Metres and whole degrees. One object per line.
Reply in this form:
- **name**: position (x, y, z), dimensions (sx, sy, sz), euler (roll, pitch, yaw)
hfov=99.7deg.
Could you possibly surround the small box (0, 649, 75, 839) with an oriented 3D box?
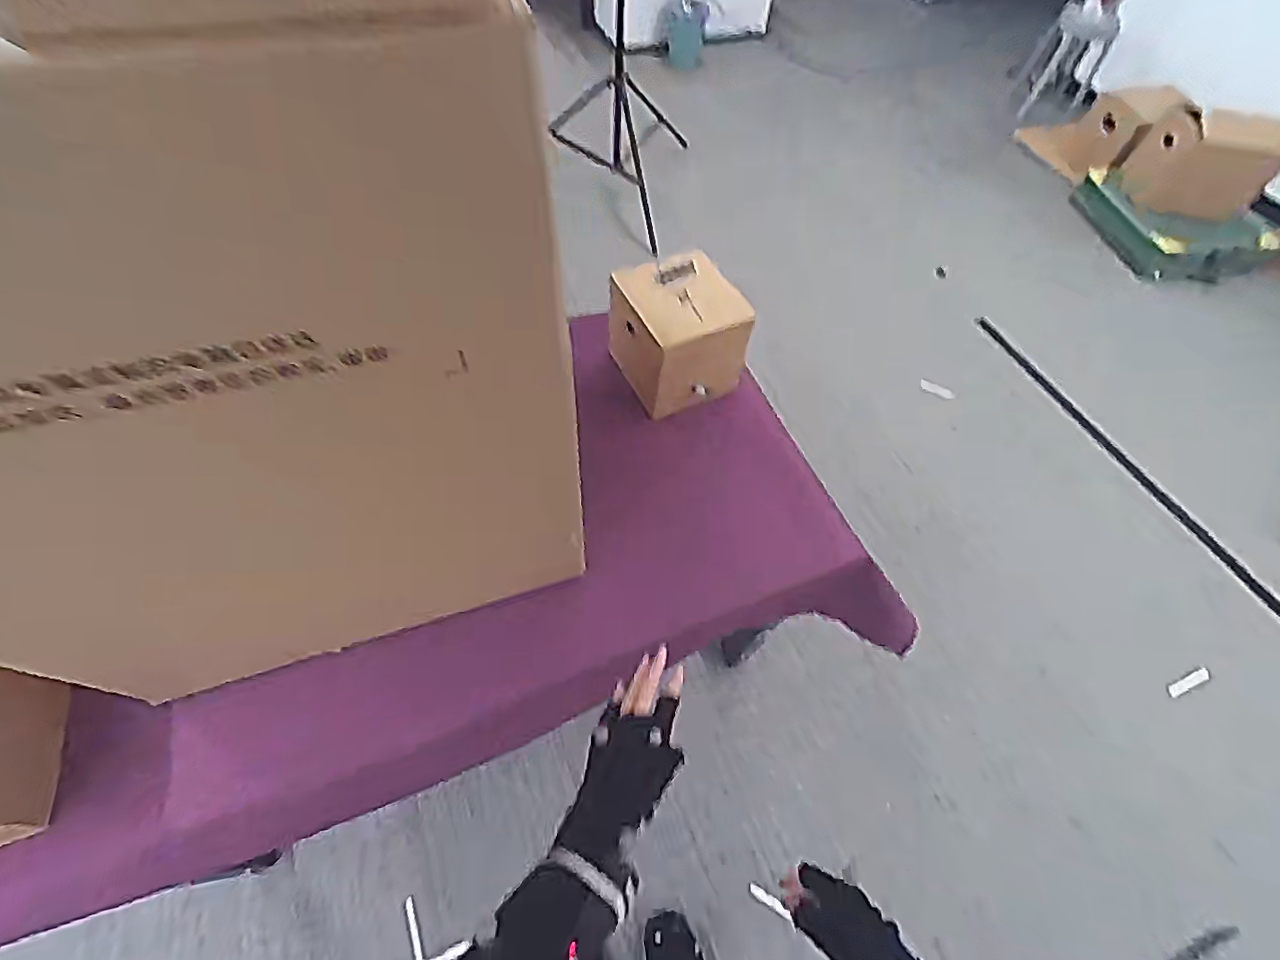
- **small box**: position (-0.713, 0.268, 0.523), dimensions (0.168, 0.176, 0.179), euler (-15, 58, -16)
